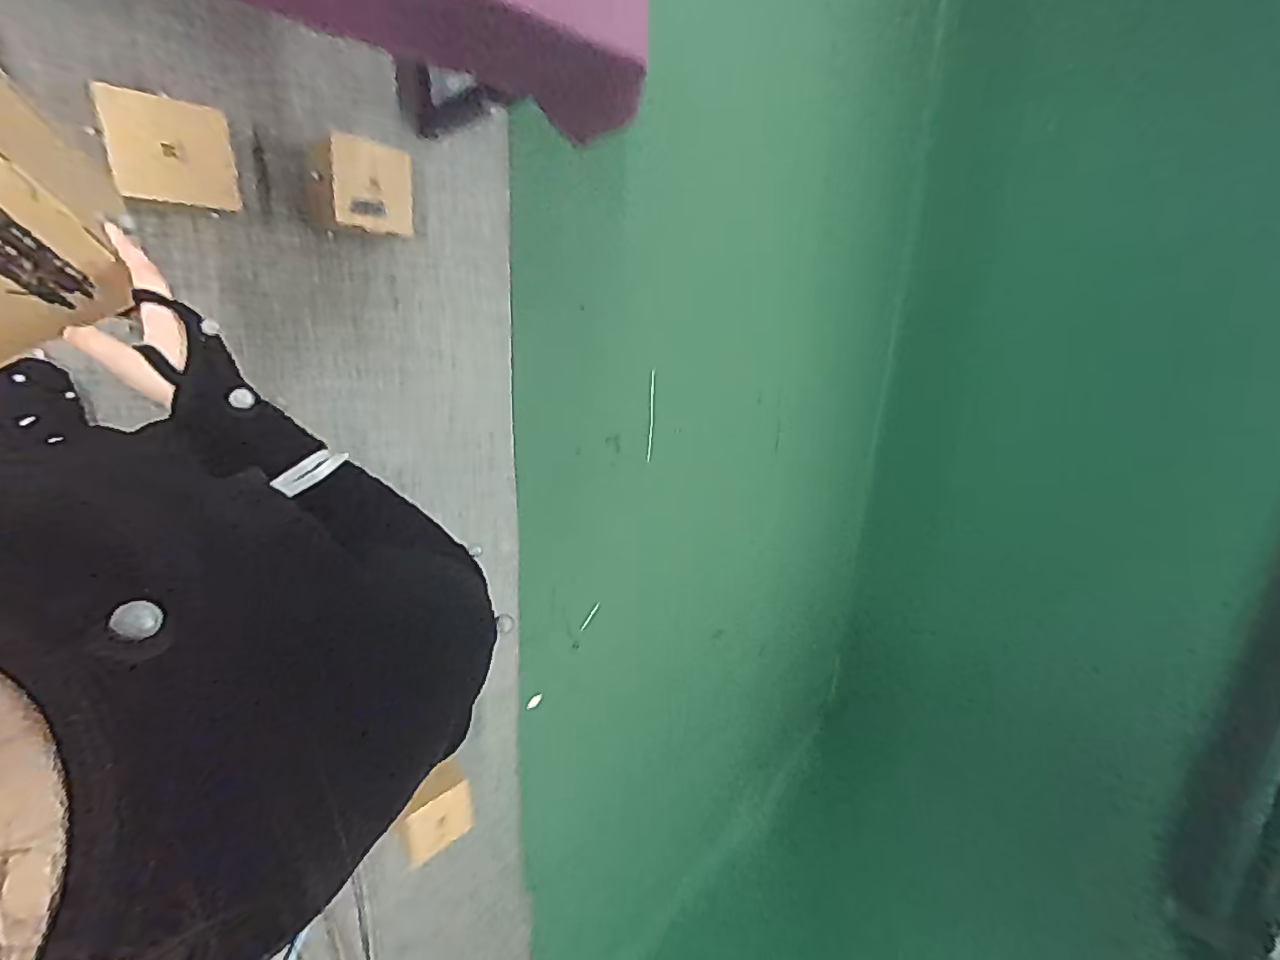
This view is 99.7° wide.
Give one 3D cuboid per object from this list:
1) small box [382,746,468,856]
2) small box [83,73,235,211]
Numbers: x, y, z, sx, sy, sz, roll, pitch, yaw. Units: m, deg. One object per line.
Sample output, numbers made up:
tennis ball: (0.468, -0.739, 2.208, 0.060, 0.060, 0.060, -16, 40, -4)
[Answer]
small box: (-0.602, 0.880, 1.509, 0.168, 0.176, 0.179, -16, 114, -42)
small box: (-0.872, -0.596, 0.983, 0.179, 0.176, 0.168, -16, 114, -44)
